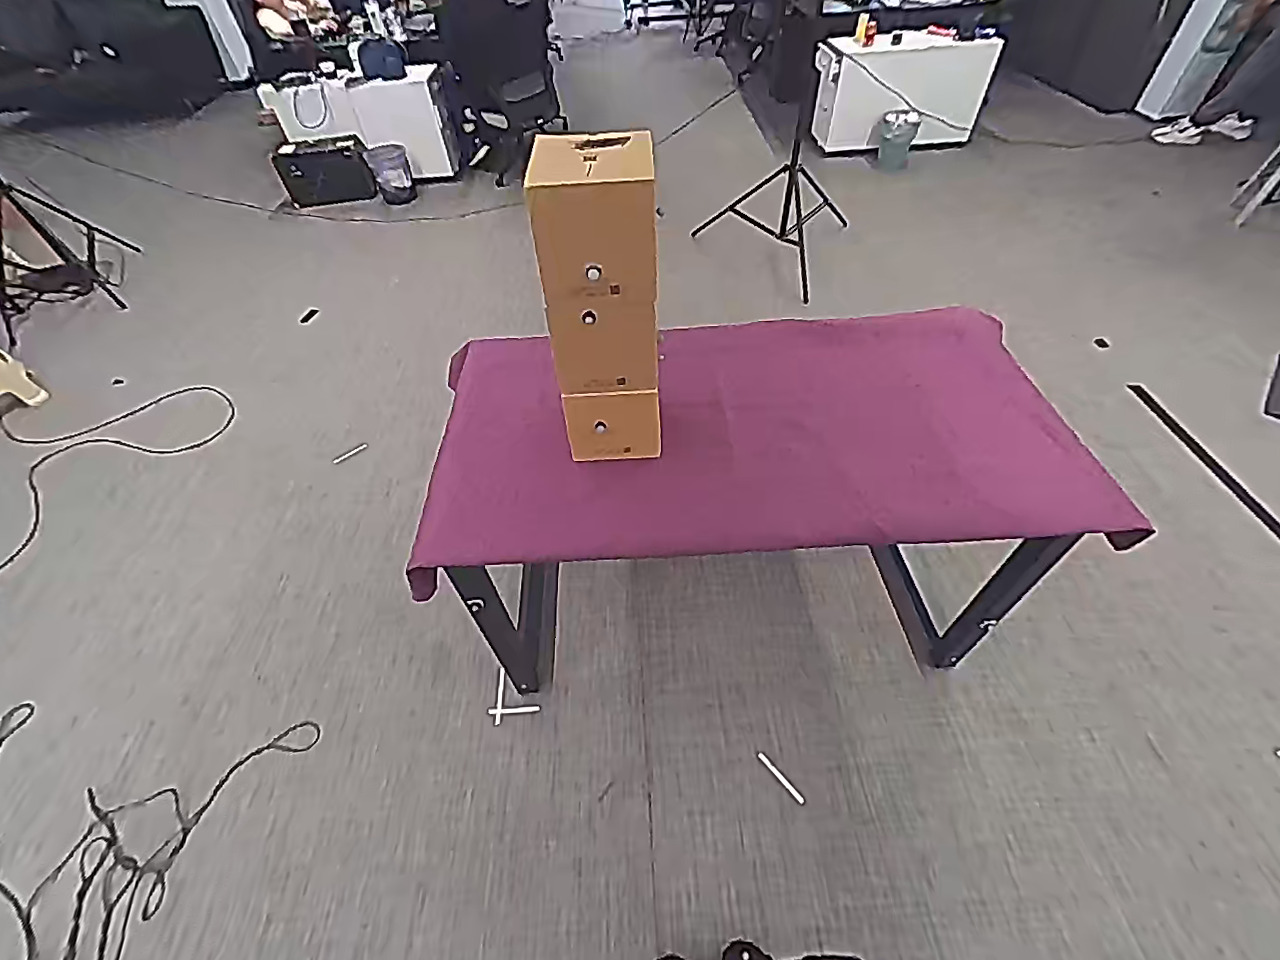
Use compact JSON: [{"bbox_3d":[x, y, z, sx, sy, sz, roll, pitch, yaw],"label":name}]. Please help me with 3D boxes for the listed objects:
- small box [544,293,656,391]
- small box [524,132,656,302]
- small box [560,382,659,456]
[{"bbox_3d":[-0.059,-0.269,0.904,0.168,0.176,0.179,-3,48,1],"label":"small box"},{"bbox_3d":[-0.061,-0.376,0.778,0.168,0.176,0.179,-3,50,1],"label":"small box"},{"bbox_3d":[-0.051,-0.158,1.024,0.168,0.176,0.179,-3,49,1],"label":"small box"}]
